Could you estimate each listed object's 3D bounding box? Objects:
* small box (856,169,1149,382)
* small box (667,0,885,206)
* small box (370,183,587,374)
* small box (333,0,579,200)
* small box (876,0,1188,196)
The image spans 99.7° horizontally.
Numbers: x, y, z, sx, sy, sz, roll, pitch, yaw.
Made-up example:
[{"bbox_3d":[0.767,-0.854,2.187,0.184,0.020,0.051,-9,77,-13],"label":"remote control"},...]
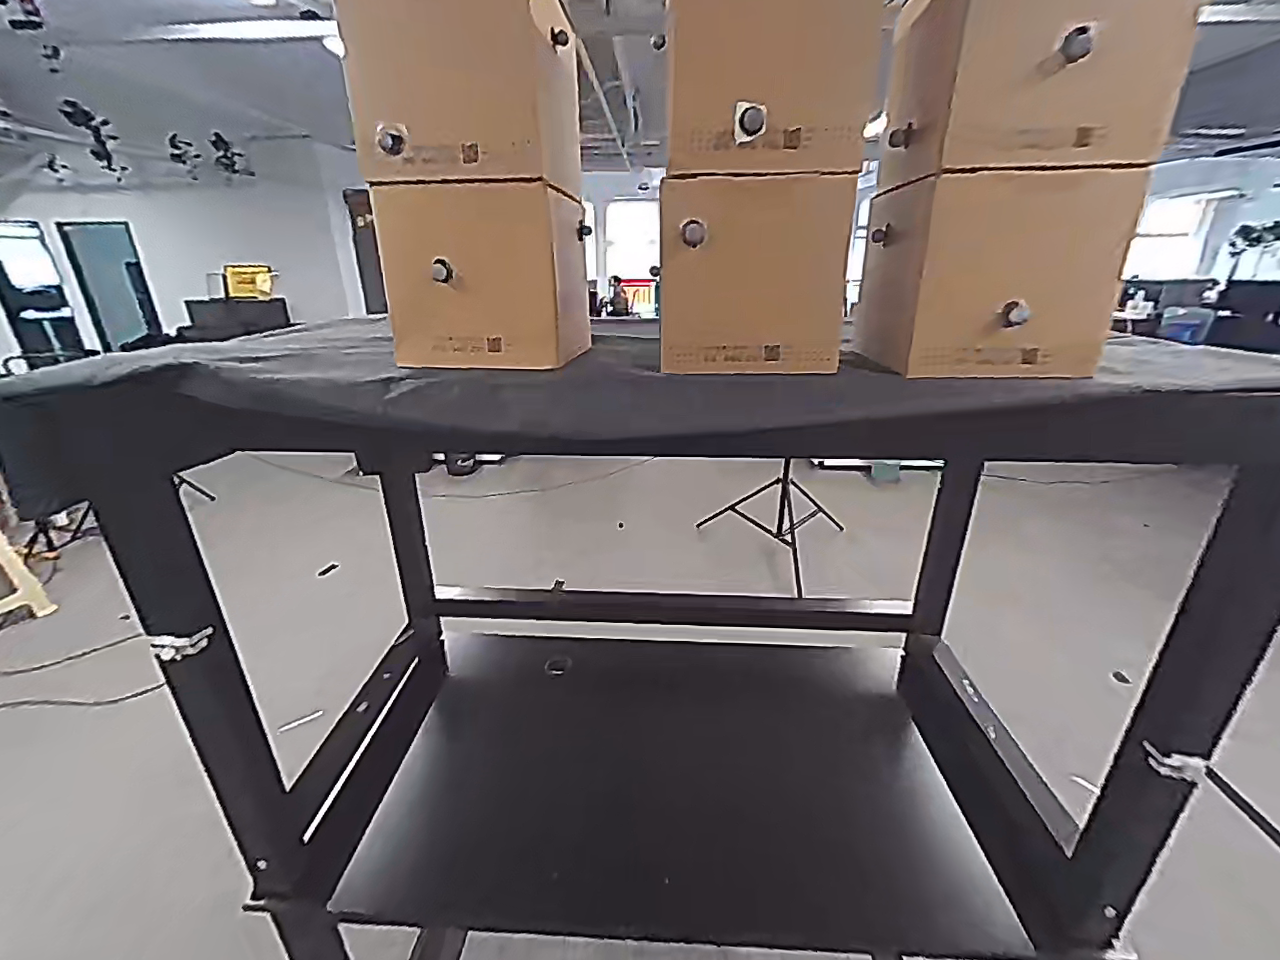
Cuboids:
[{"bbox_3d":[0.327,-0.197,0.536,0.168,0.176,0.179,0,21,5],"label":"small box"},{"bbox_3d":[0.108,-0.356,0.502,0.168,0.176,0.179,0,21,3],"label":"small box"},{"bbox_3d":[-0.153,-0.211,0.583,0.168,0.176,0.179,2,21,5],"label":"small box"},{"bbox_3d":[-0.155,-0.363,0.522,0.168,0.176,0.179,2,20,6],"label":"small box"},{"bbox_3d":[0.327,-0.351,0.477,0.168,0.176,0.179,2,22,5],"label":"small box"}]
